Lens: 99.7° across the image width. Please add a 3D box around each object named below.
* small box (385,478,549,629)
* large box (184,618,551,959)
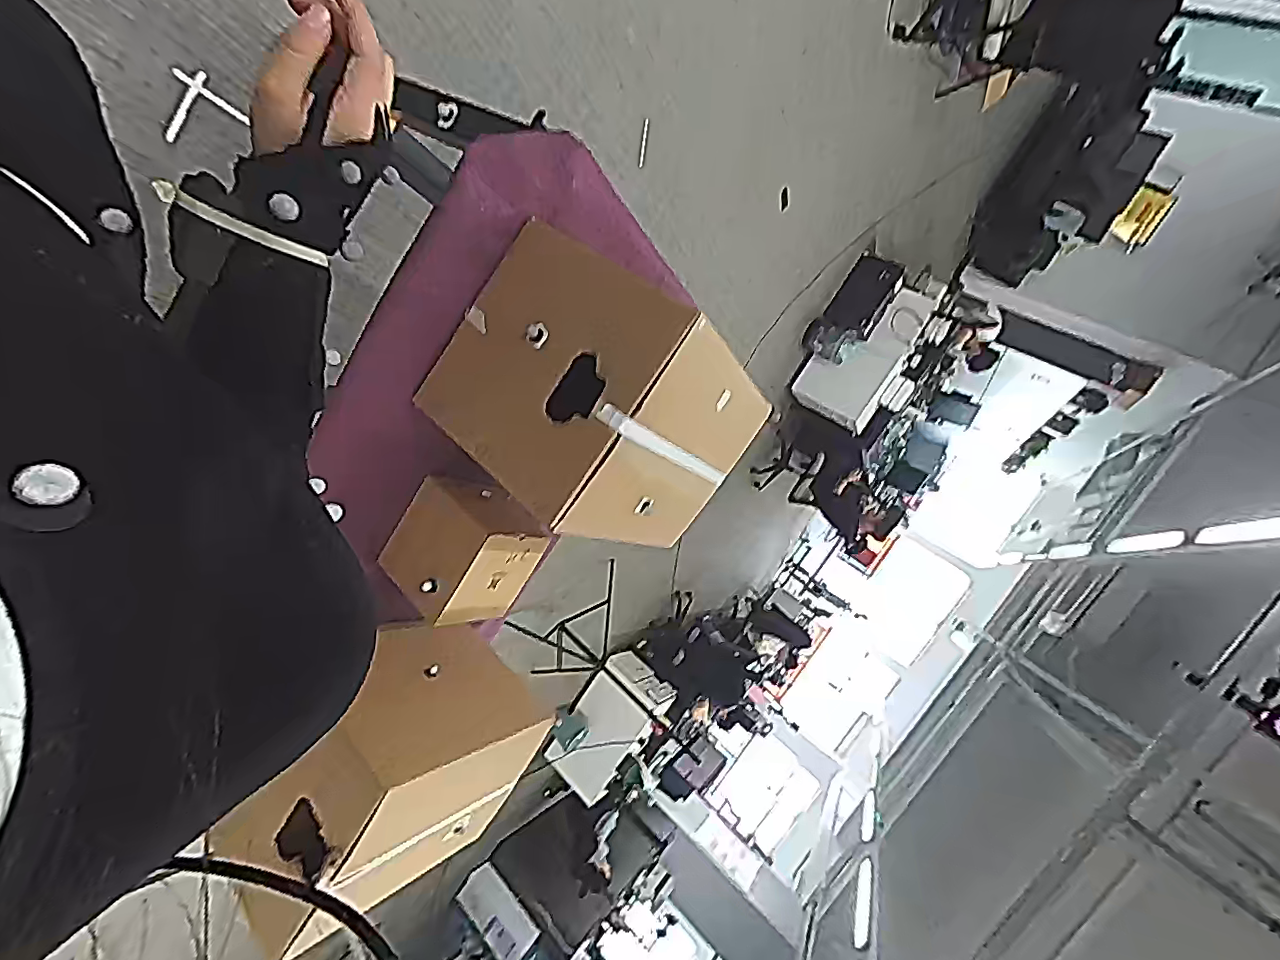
[{"bbox_3d":[-0.295,0.123,0.911,0.179,0.176,0.168,-56,155,7],"label":"small box"},{"bbox_3d":[-0.441,0.463,0.932,0.320,0.320,0.408,-56,156,6],"label":"large box"}]
